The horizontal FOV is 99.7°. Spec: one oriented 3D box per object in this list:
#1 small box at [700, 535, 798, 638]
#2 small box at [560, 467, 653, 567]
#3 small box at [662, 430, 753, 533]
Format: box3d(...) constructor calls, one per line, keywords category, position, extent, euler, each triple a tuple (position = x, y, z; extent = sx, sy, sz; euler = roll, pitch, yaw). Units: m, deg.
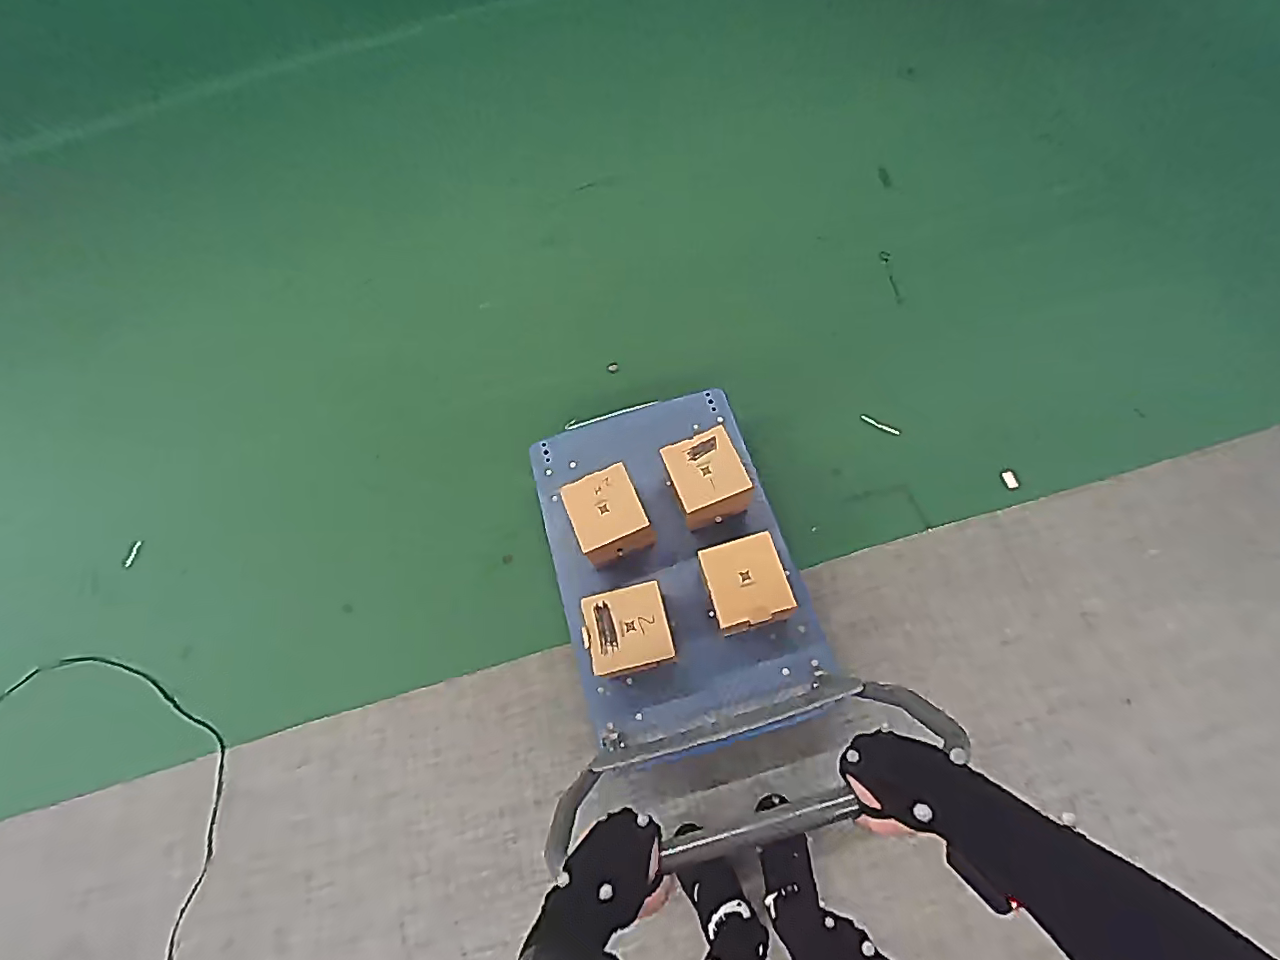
box3d(category="small box", position=(0.238, 0.247, 1.231), extent=(0.168, 0.176, 0.179), euler=(-17, 69, 0))
box3d(category="small box", position=(-0.075, 0.100, 1.322), extent=(0.168, 0.176, 0.179), euler=(-23, 68, -4))
box3d(category="small box", position=(0.162, 0.009, 1.331), extent=(0.168, 0.176, 0.179), euler=(-22, 69, -2))
